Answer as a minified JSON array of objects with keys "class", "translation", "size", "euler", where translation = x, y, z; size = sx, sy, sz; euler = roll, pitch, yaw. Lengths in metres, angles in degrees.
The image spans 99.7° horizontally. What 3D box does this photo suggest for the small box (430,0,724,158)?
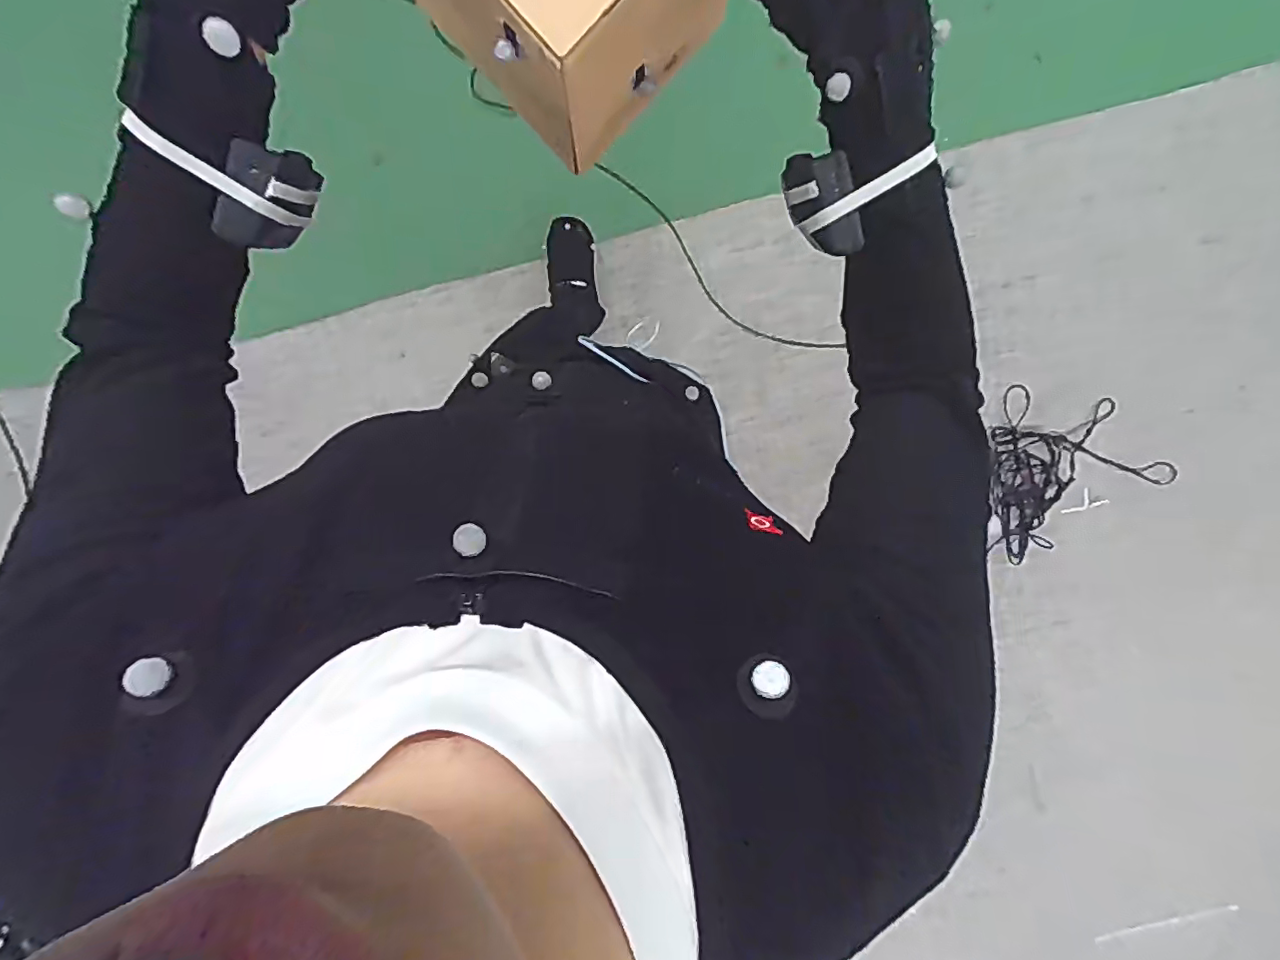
[{"class":"small box","translation":[-0.047,-0.359,0.353],"size":[0.168,0.176,0.179],"euler":[-44,102,5]}]
